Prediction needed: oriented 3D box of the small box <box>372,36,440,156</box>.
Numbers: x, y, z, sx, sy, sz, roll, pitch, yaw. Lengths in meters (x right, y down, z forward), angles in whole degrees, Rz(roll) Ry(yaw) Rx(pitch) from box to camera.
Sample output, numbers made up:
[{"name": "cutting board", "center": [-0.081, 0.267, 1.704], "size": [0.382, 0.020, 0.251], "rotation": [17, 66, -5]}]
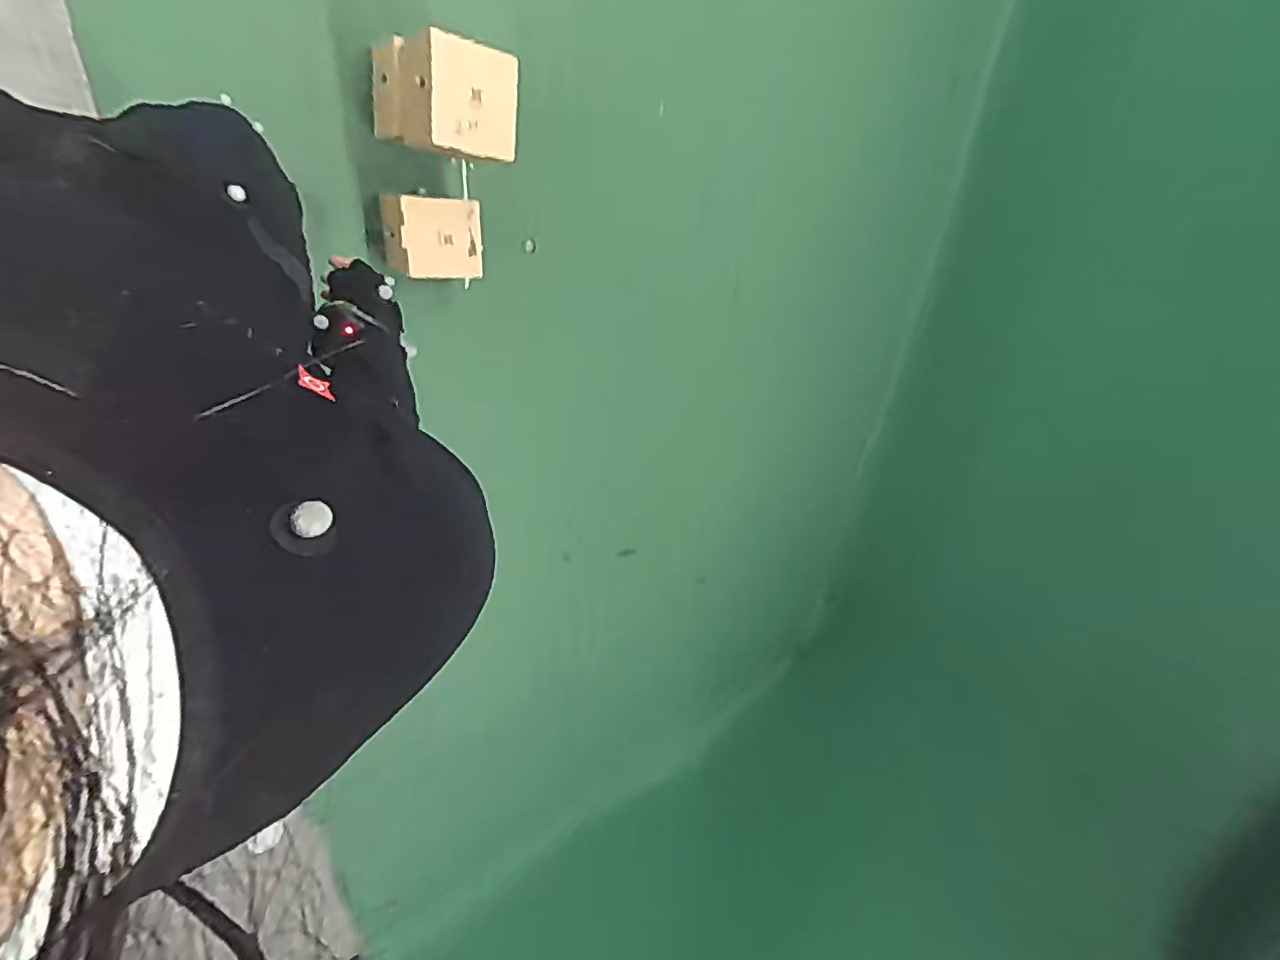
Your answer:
[{"name": "small box", "center": [-0.466, -0.806, 1.158], "size": [0.179, 0.176, 0.168], "rotation": [-9, 119, -39]}]

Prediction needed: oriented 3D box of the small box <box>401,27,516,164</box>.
[{"name": "small box", "center": [-0.358, -0.734, 1.055], "size": [0.168, 0.176, 0.179], "rotation": [-10, 119, -38]}]
